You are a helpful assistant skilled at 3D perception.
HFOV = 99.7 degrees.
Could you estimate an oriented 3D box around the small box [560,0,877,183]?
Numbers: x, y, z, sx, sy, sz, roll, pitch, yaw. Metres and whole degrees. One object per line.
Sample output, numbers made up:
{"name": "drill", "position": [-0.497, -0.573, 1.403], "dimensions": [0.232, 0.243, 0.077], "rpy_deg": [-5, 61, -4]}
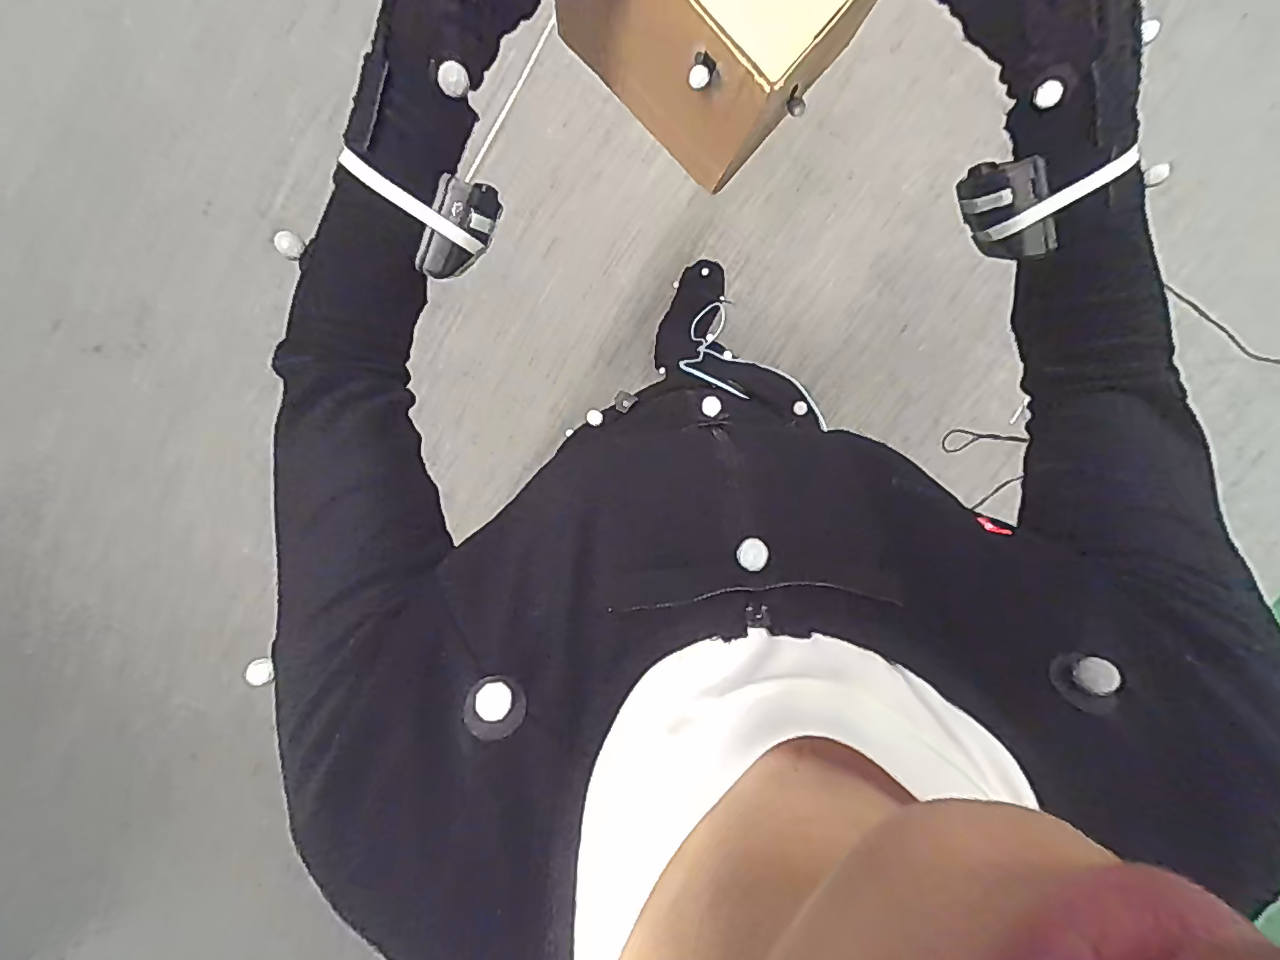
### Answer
{"name": "small box", "position": [0.056, -0.346, 0.364], "dimensions": [0.179, 0.176, 0.168], "rpy_deg": [43, 93, -12]}
